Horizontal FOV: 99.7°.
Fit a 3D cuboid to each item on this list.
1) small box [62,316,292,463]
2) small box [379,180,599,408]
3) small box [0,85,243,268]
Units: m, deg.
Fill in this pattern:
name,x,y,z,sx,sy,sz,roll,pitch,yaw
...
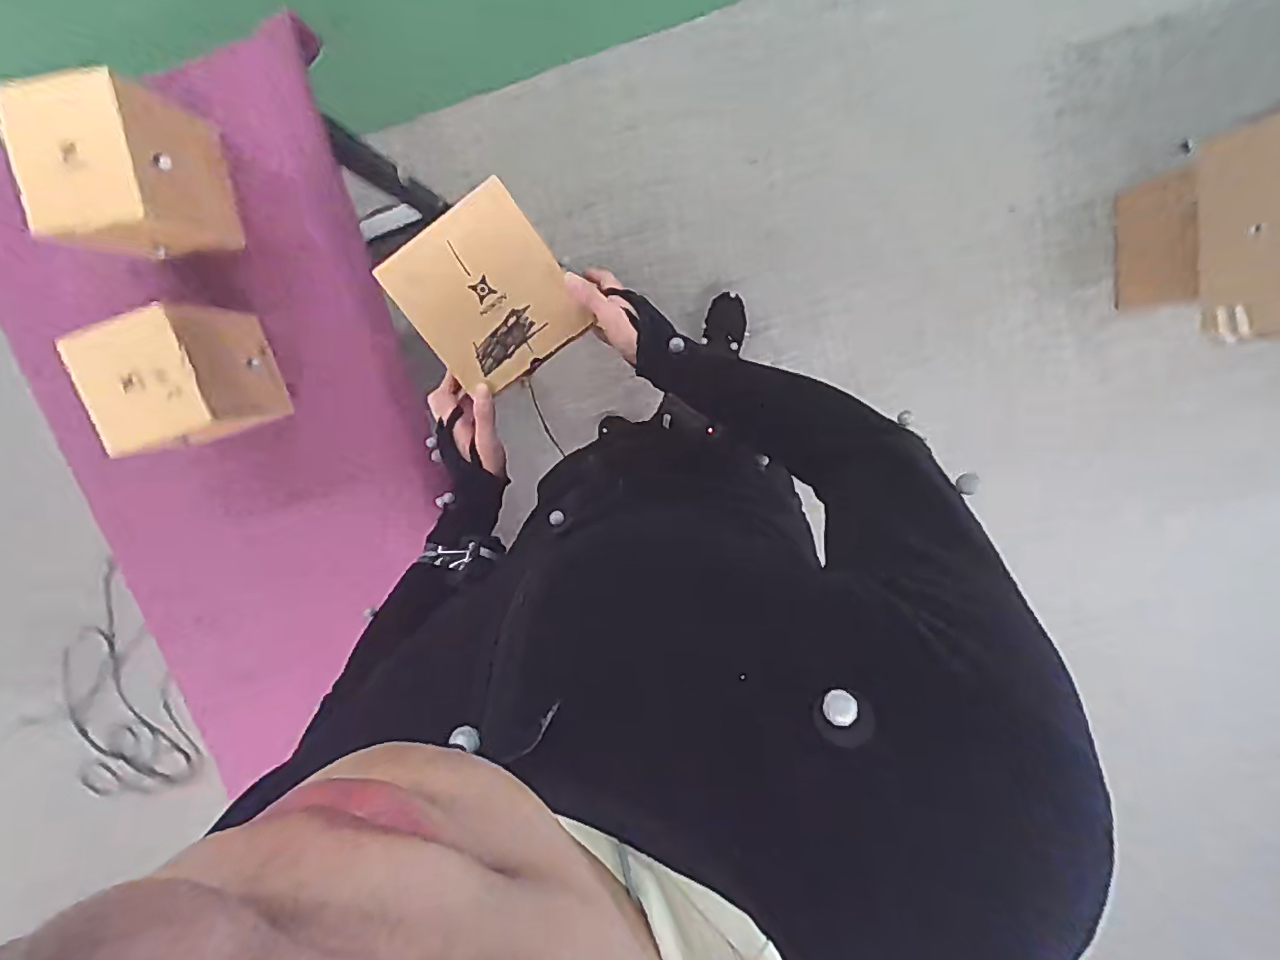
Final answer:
name,x,y,z,sx,sy,sz,roll,pitch,yaw
small box,-0.686,-0.136,0.824,0.179,0.176,0.168,-16,100,7
small box,-0.159,-0.213,0.644,0.168,0.176,0.179,-33,105,6
small box,-0.721,-0.416,0.771,0.168,0.176,0.179,-6,103,5
